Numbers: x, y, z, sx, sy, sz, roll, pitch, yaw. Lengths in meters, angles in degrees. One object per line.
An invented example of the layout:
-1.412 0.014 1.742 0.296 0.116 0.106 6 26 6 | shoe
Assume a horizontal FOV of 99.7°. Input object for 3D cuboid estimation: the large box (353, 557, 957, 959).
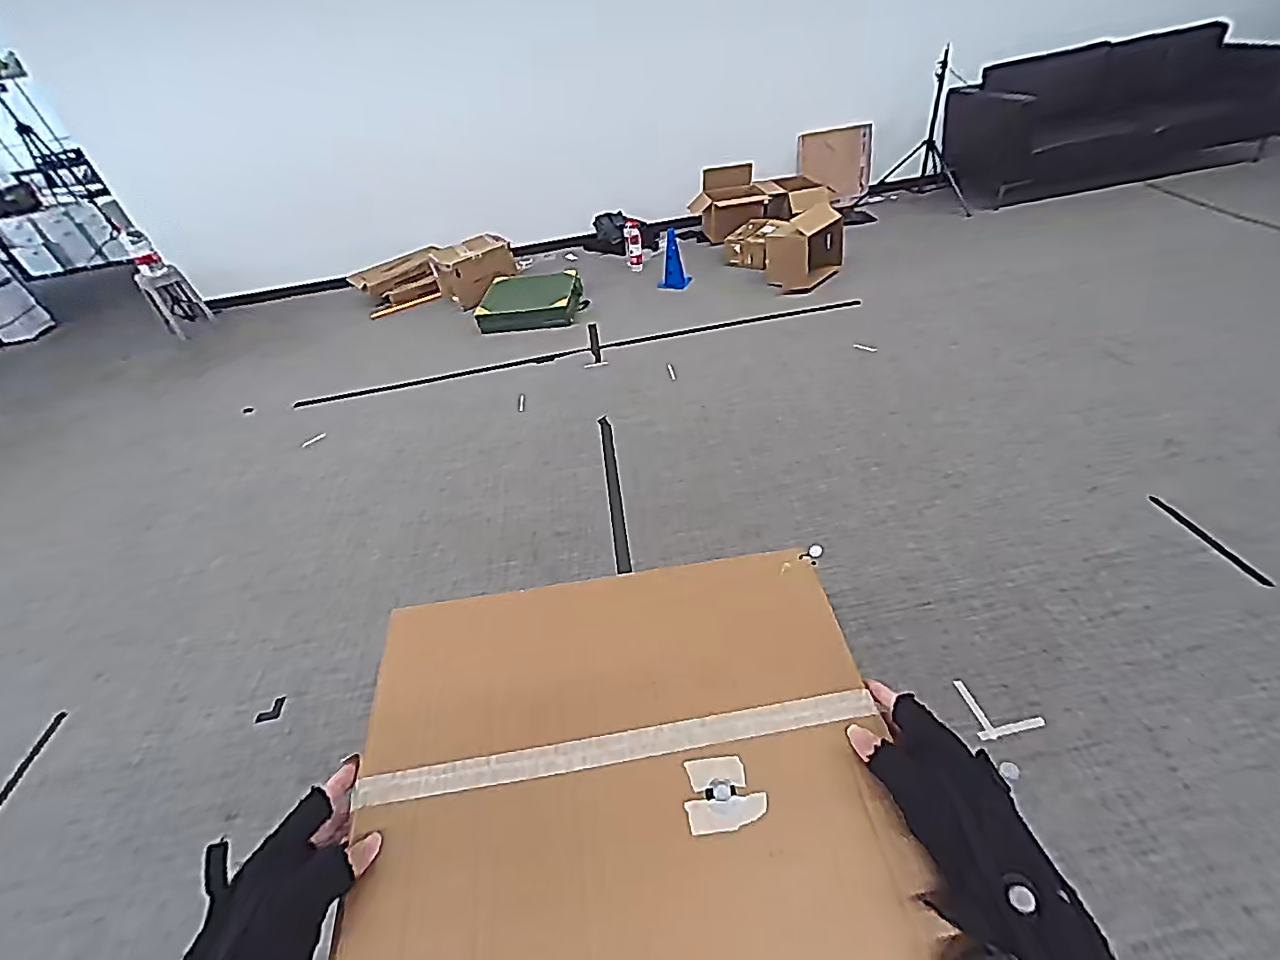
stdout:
-0.003 0.318 0.544 0.408 0.320 0.320 -8 48 -4 | large box
